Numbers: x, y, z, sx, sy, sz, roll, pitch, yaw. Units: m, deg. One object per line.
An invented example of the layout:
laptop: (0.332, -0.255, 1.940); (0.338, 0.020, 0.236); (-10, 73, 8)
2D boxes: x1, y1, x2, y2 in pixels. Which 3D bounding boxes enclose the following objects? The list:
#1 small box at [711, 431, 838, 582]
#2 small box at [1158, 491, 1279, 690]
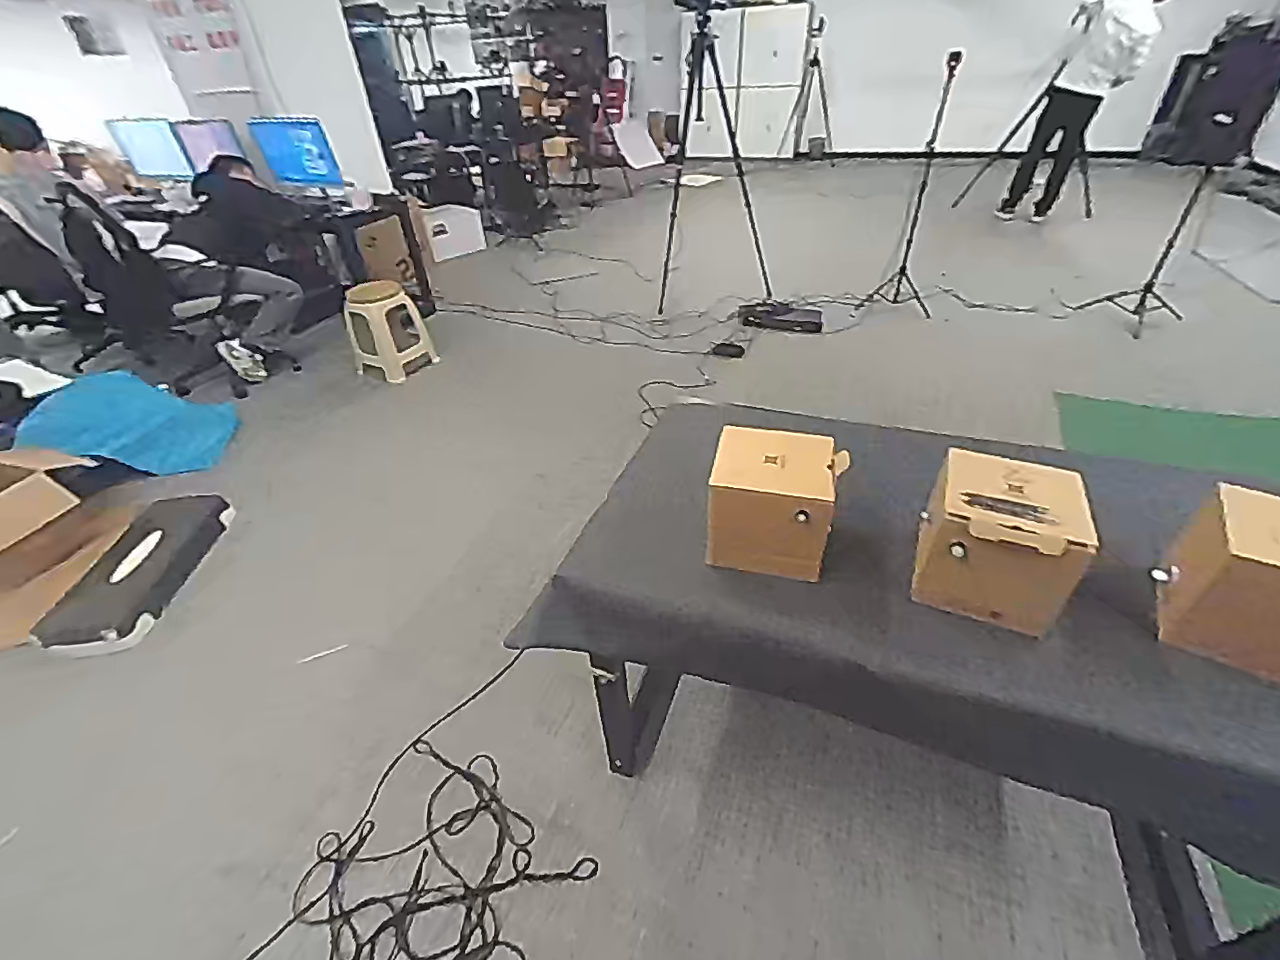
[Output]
small box: (0.211, 0.042, 0.864); (0.179, 0.176, 0.168); (8, 39, 13)
small box: (0.810, 0.147, 0.683); (0.179, 0.176, 0.168); (21, 43, 30)
